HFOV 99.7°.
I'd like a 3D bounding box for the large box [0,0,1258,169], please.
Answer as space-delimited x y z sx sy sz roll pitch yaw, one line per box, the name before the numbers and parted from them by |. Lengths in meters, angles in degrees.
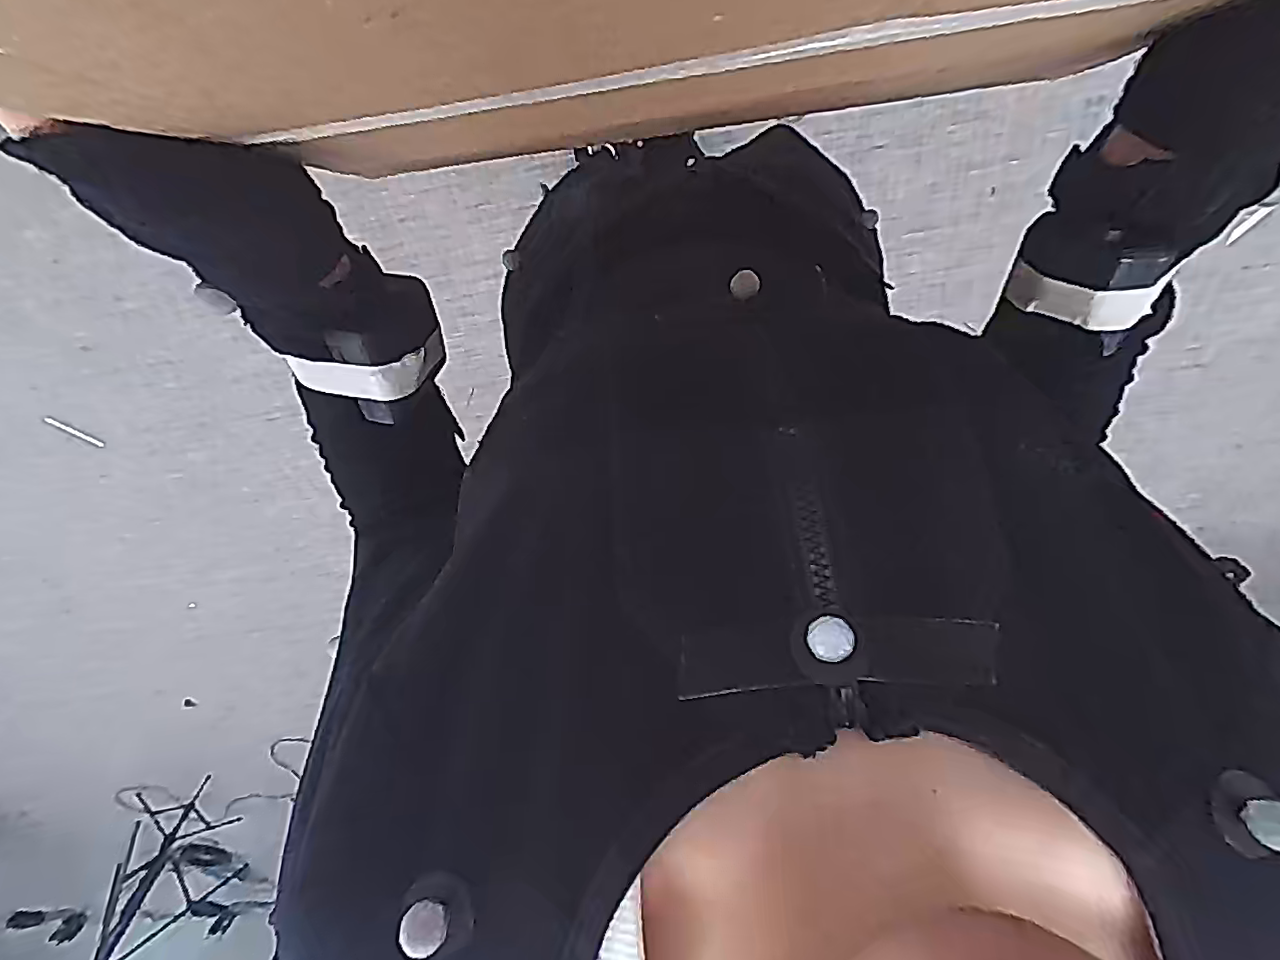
large box | 0.019 -0.291 0.125 0.408 0.320 0.320 -6 115 3
